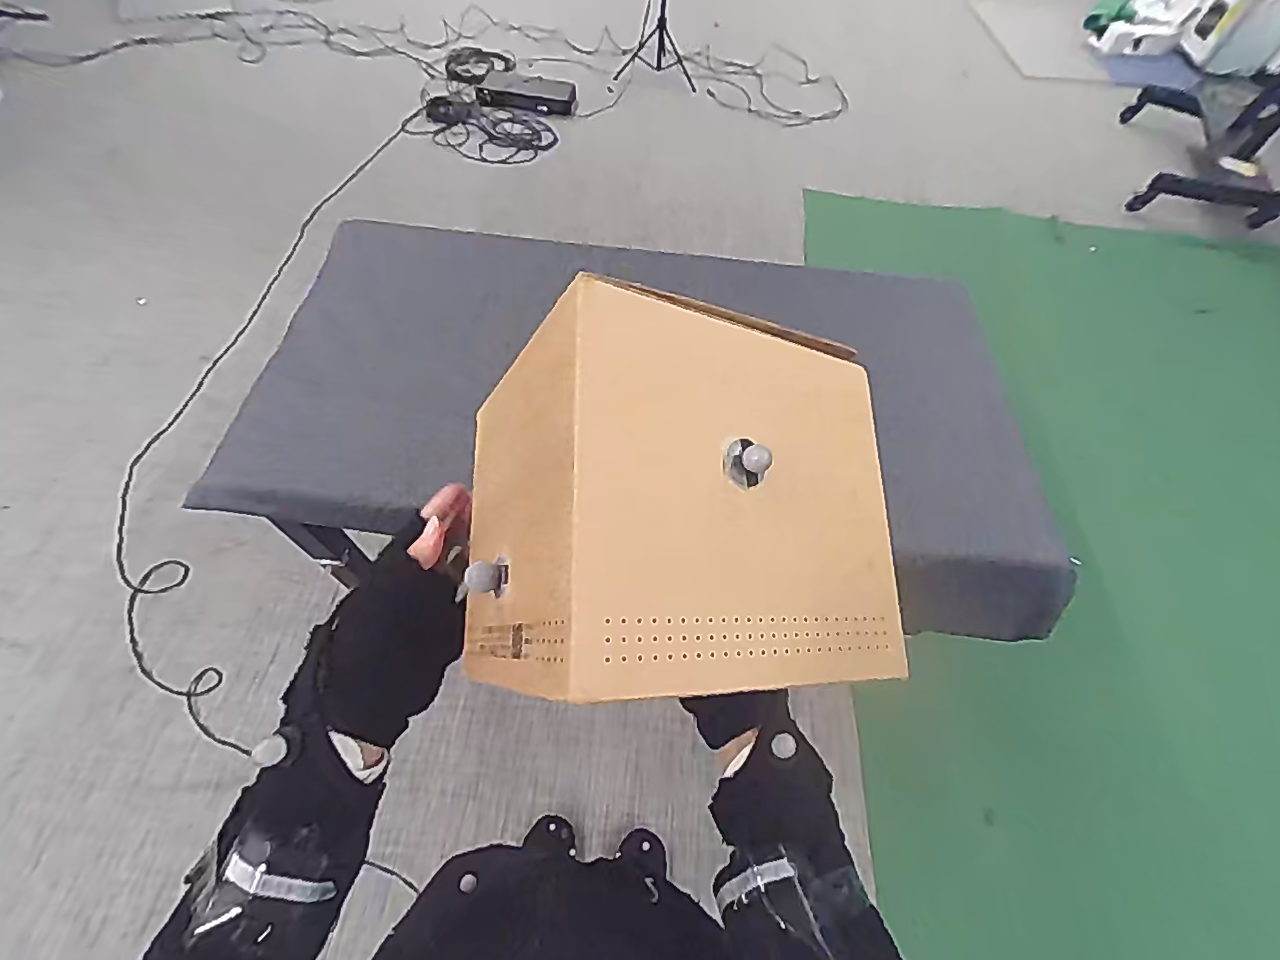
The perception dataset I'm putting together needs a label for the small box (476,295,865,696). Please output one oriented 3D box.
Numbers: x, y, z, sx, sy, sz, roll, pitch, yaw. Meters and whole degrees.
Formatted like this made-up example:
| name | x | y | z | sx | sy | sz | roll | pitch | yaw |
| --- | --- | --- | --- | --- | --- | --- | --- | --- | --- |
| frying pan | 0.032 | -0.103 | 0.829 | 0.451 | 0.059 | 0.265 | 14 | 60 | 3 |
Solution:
| name | x | y | z | sx | sy | sz | roll | pitch | yaw |
| --- | --- | --- | --- | --- | --- | --- | --- | --- | --- |
| small box | 0.011 | 0.026 | 0.322 | 0.179 | 0.168 | 0.176 | 7 | 72 | -29 |
